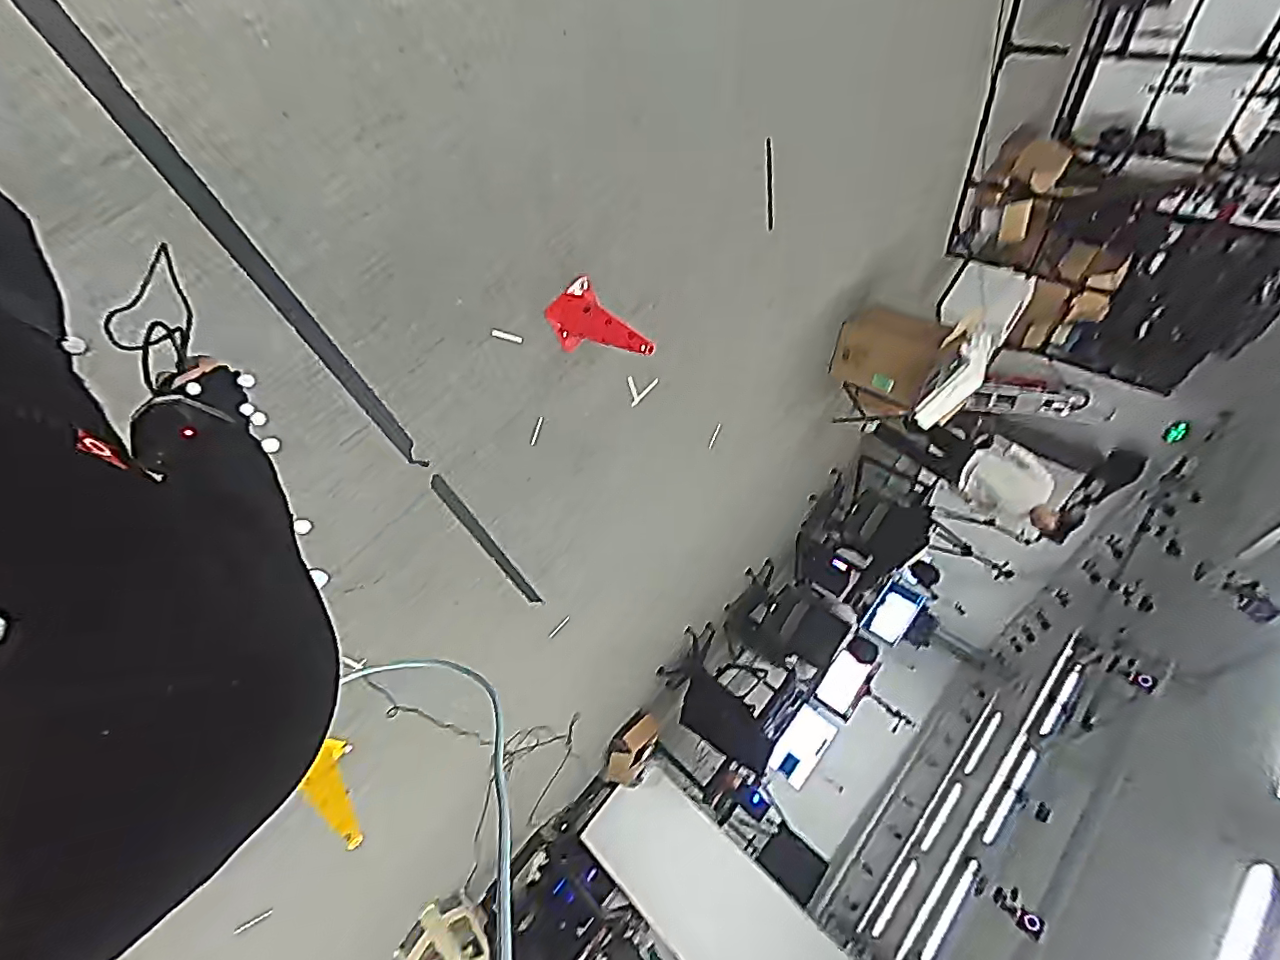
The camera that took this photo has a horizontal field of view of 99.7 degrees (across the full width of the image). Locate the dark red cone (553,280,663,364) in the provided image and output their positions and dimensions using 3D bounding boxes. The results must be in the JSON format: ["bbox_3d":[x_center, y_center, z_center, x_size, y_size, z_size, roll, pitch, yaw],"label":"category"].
[{"bbox_3d":[-0.081,-0.465,1.729,0.201,0.394,0.202,-48,148,-12],"label":"dark red cone"}]
